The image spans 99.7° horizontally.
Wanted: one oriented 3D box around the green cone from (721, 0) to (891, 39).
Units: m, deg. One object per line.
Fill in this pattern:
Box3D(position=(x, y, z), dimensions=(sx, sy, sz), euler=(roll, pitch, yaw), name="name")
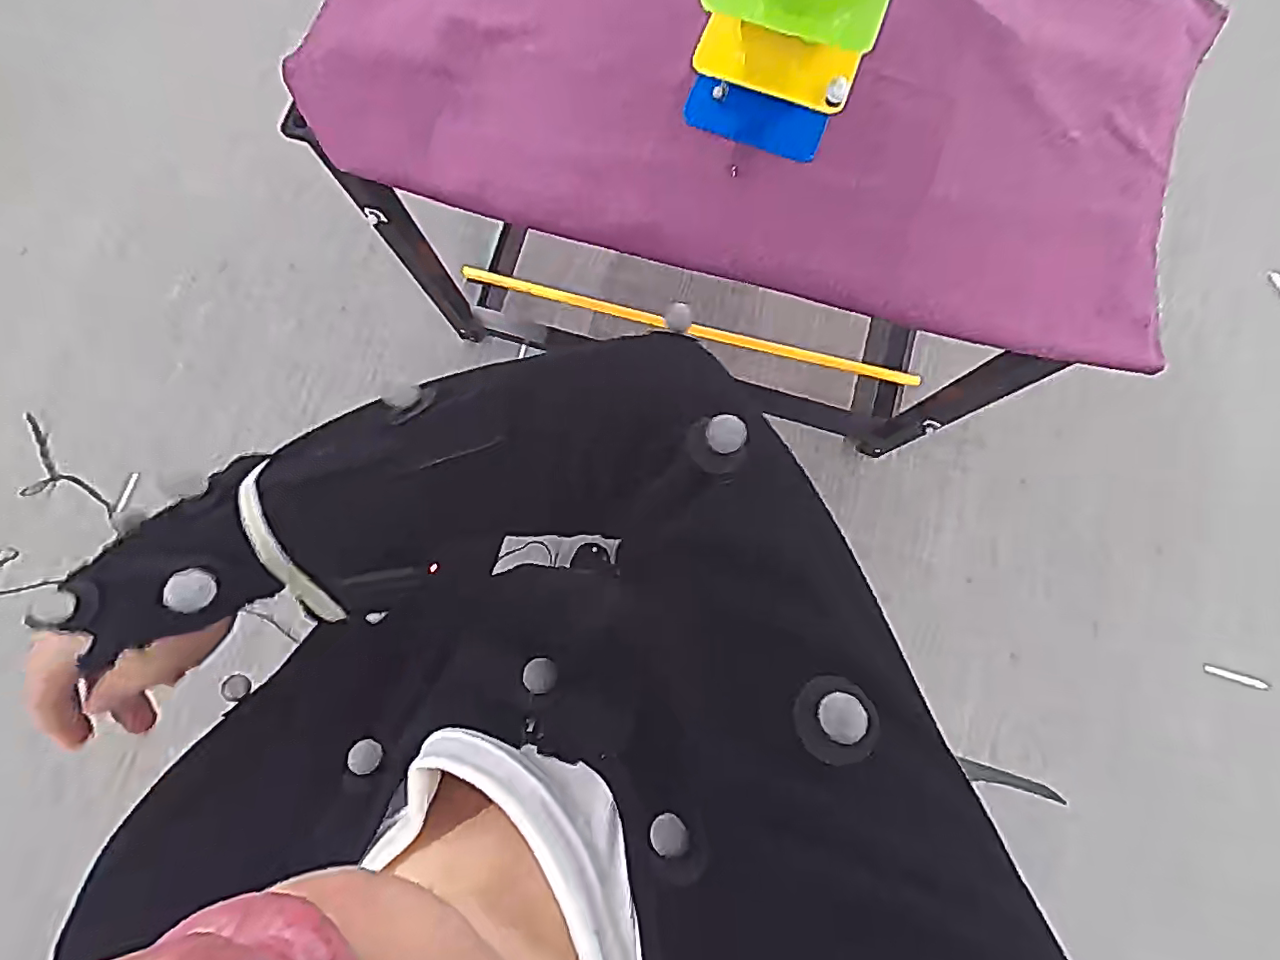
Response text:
Box3D(position=(0.196, -0.636, 0.447), dimensions=(0.200, 0.368, 0.202), euler=(20, 75, 5), name="green cone")
